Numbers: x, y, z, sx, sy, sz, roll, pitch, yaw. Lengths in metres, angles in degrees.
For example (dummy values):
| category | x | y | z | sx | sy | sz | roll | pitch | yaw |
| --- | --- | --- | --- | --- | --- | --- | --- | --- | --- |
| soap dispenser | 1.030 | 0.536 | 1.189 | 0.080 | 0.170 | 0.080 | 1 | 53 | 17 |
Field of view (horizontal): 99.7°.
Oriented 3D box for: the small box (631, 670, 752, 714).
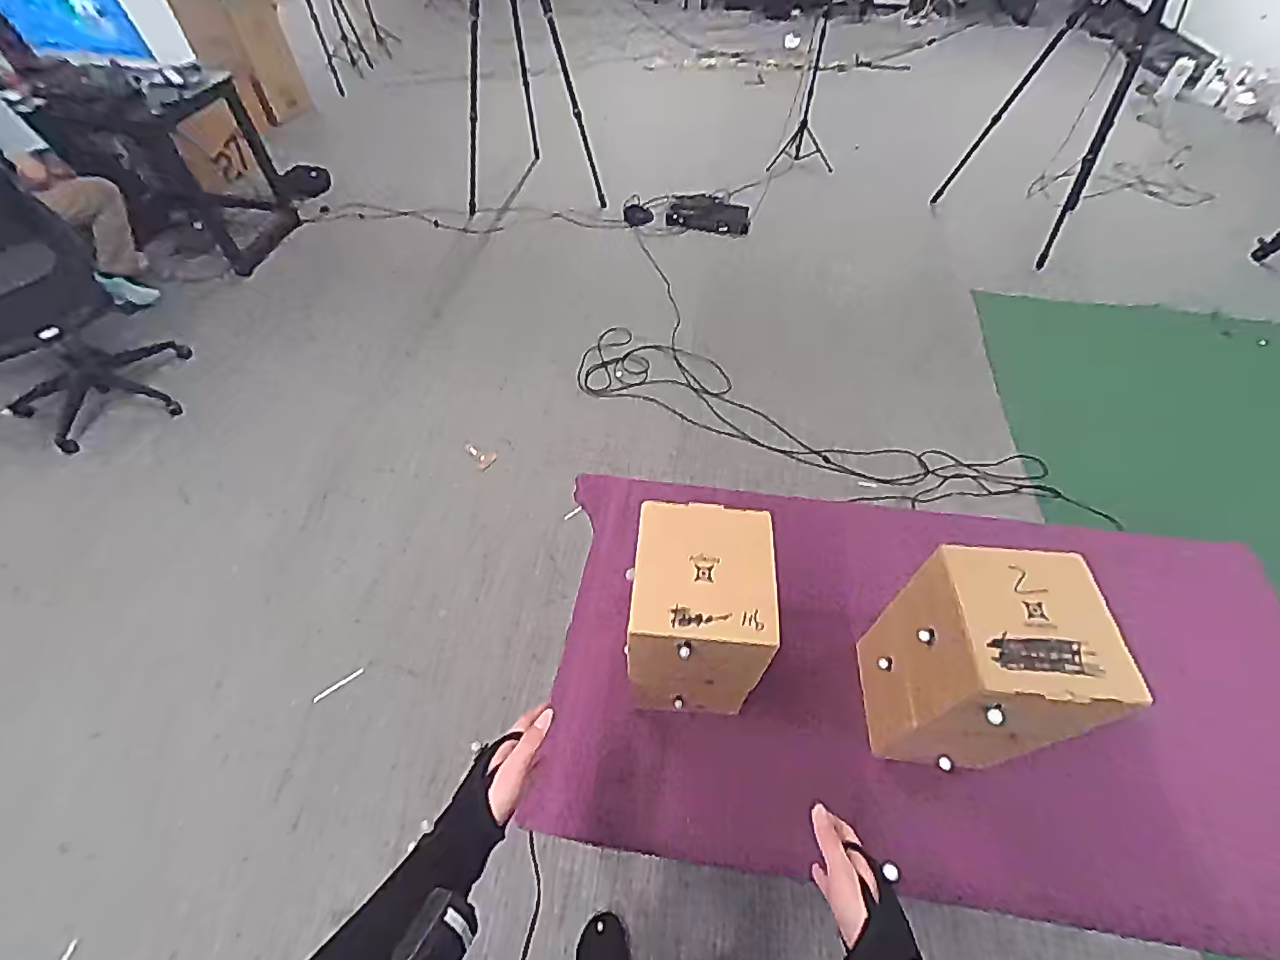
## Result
| category | x | y | z | sx | sy | sz | roll | pitch | yaw |
| --- | --- | --- | --- | --- | --- | --- | --- | --- | --- |
| small box | 0.074 | 0.239 | 0.827 | 0.168 | 0.176 | 0.179 | 3 | 53 | 2 |

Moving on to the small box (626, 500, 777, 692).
| category | x | y | z | sx | sy | sz | roll | pitch | yaw |
| --- | --- | --- | --- | --- | --- | --- | --- | --- | --- |
| small box | 0.073 | 0.149 | 0.690 | 0.168 | 0.176 | 0.179 | 4 | 52 | 3 |

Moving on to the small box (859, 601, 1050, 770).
| category | x | y | z | sx | sy | sz | roll | pitch | yaw |
| --- | --- | --- | --- | --- | --- | --- | --- | --- | --- |
| small box | 0.430 | 0.297 | 0.779 | 0.168 | 0.176 | 0.179 | 5 | 52 | 4 |
